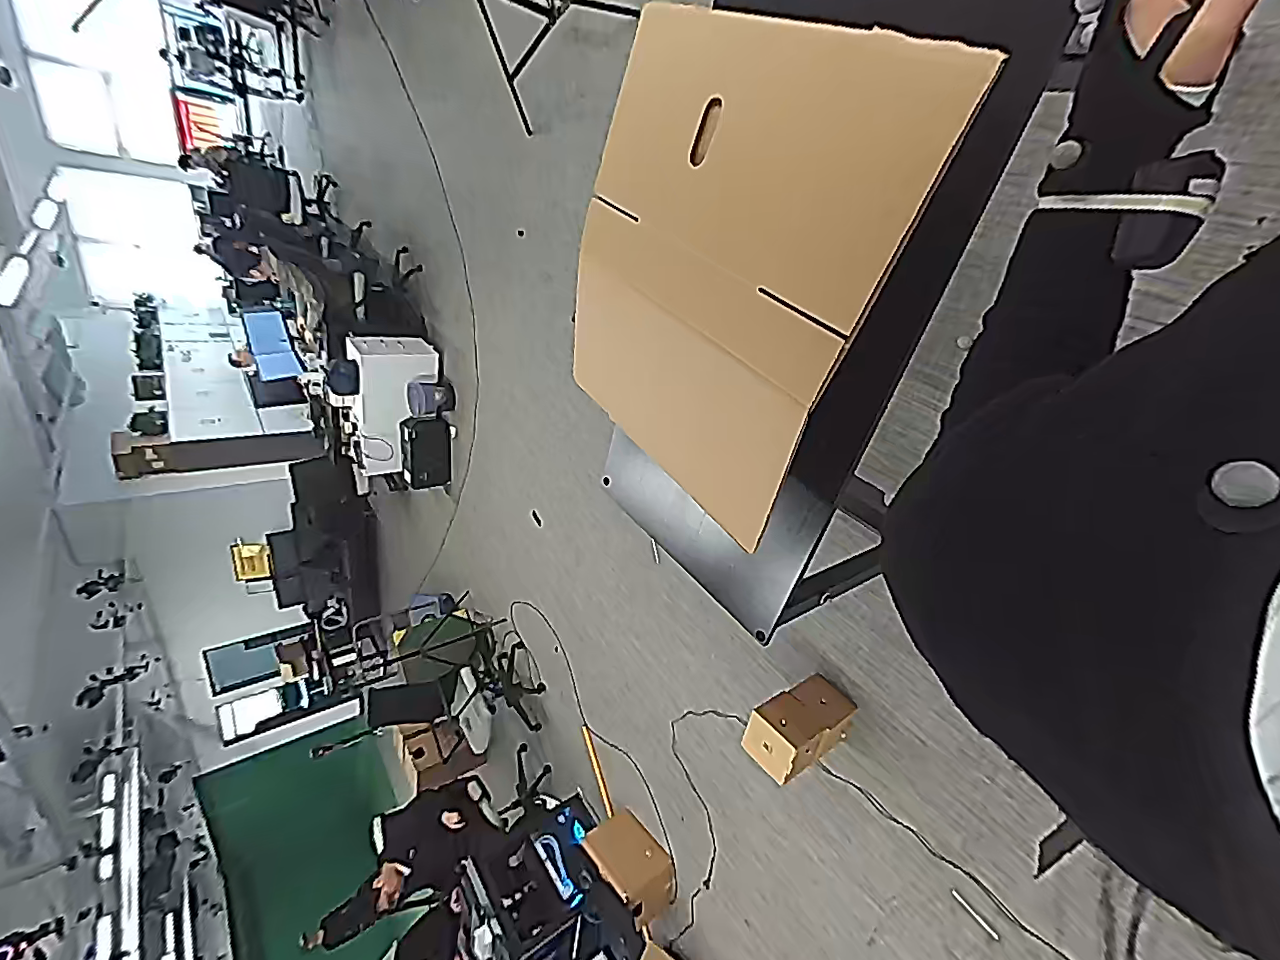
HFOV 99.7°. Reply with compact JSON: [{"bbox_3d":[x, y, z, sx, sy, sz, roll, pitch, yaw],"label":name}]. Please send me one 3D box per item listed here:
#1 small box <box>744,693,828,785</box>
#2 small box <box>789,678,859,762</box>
[{"bbox_3d":[0.465,0.814,1.719,0.179,0.176,0.168,35,124,43],"label":"small box"},{"bbox_3d":[0.596,0.793,1.814,0.179,0.176,0.168,37,126,41],"label":"small box"}]
